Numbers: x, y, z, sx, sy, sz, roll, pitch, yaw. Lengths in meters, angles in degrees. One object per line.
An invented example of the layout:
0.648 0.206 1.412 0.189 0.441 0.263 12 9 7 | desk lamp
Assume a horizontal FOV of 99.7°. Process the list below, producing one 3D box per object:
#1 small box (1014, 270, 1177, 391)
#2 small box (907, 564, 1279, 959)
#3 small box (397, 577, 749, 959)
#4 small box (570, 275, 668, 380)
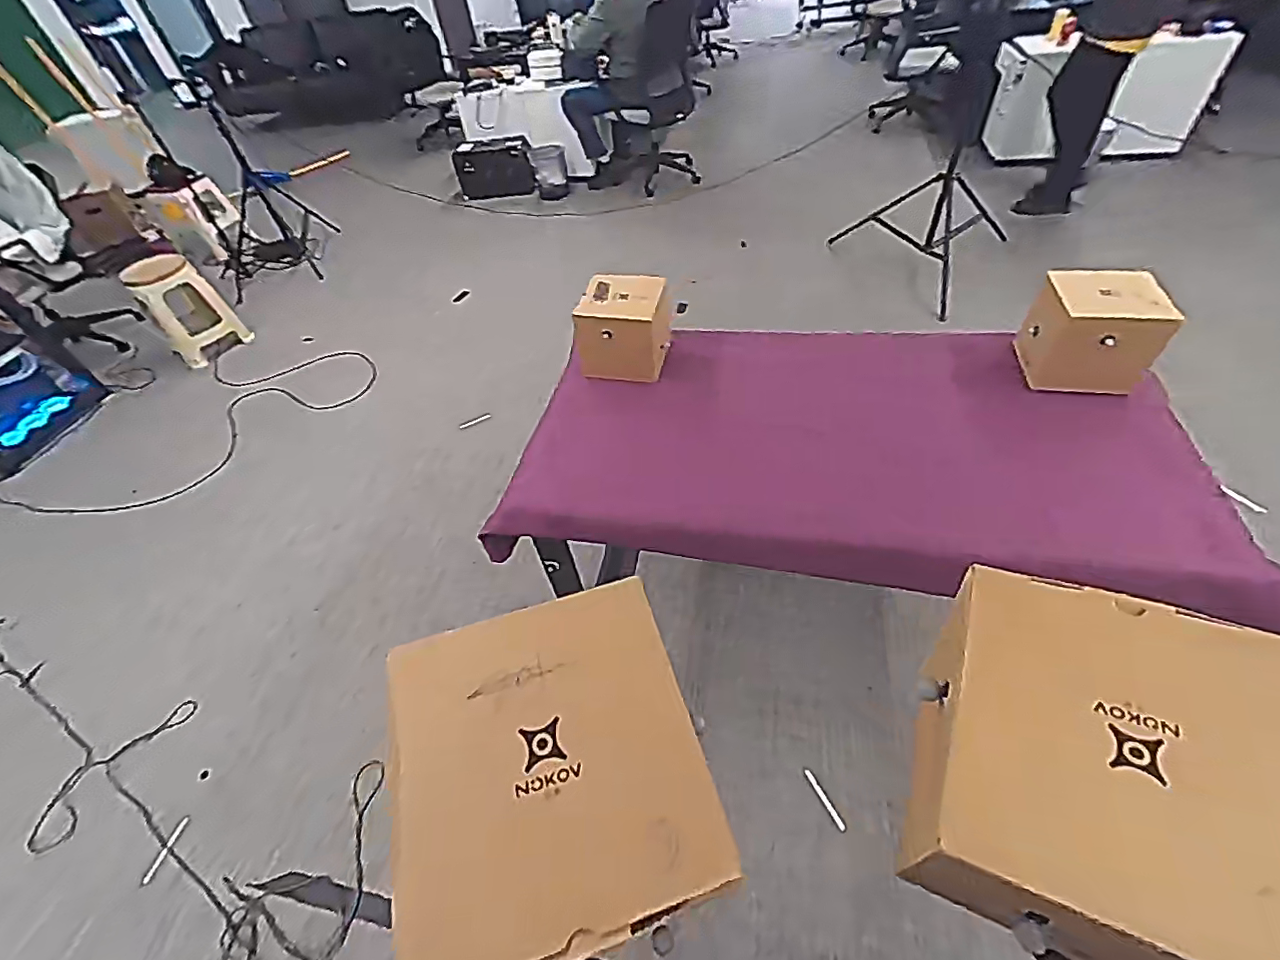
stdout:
0.865 -0.291 1.055 0.179 0.176 0.168 6 50 12 | small box
0.277 0.187 0.341 0.168 0.176 0.179 13 55 25 | small box
-0.046 0.197 0.360 0.168 0.176 0.179 -15 52 -11 | small box
-0.040 -0.346 1.232 0.179 0.176 0.168 7 52 13 | small box
